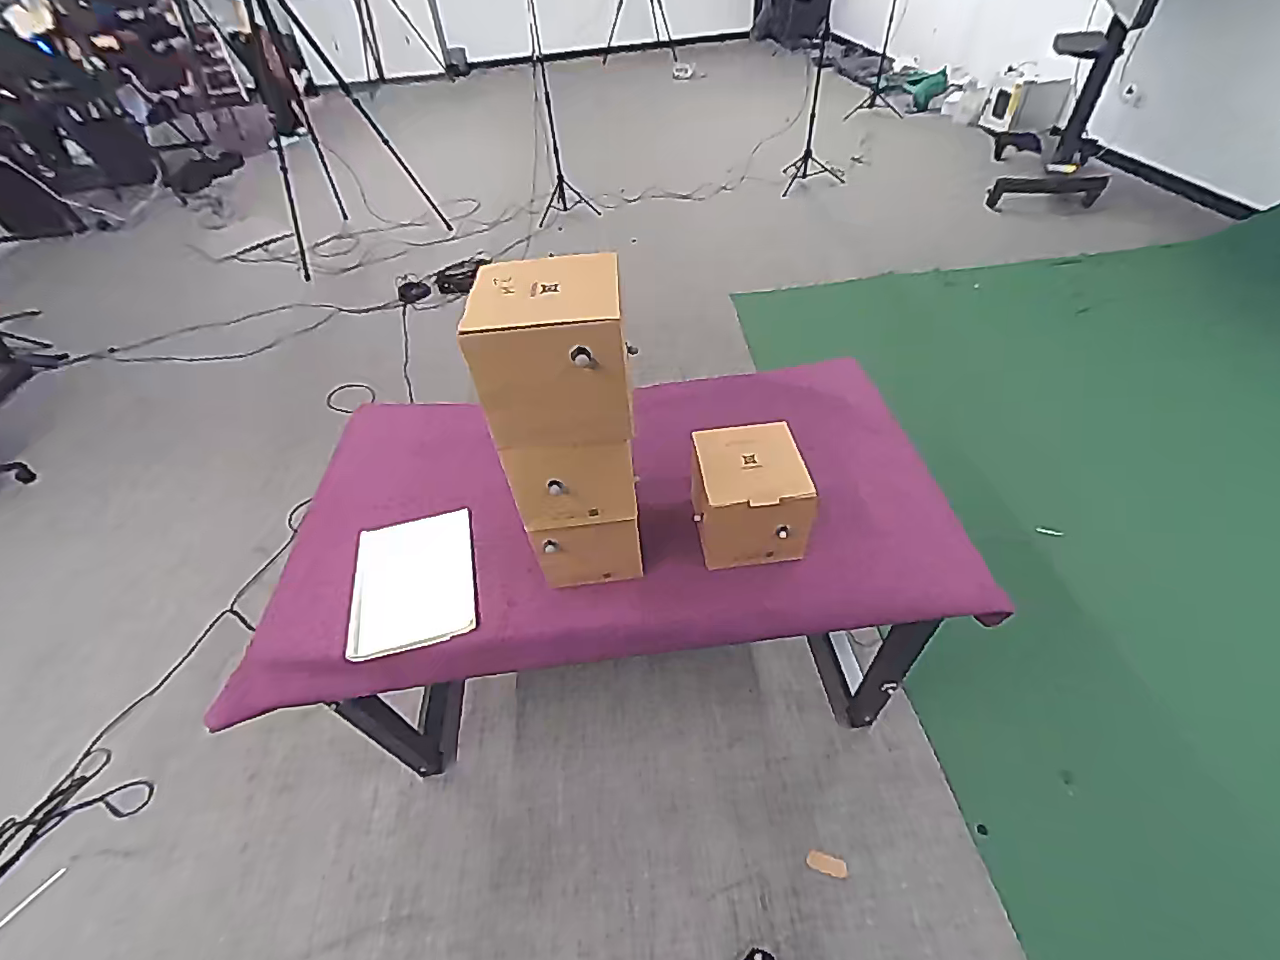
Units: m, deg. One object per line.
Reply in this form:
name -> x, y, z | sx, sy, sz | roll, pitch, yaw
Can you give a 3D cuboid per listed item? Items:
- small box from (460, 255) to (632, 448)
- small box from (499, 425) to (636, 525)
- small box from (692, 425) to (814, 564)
small box -> -0.101, -0.158, 0.676 | 0.179, 0.176, 0.168 | -5, 45, 1
small box -> -0.098, -0.047, 0.798 | 0.168, 0.176, 0.179 | -6, 45, 0
small box -> 0.182, 0.030, 0.925 | 0.168, 0.176, 0.179 | -6, 45, -1
